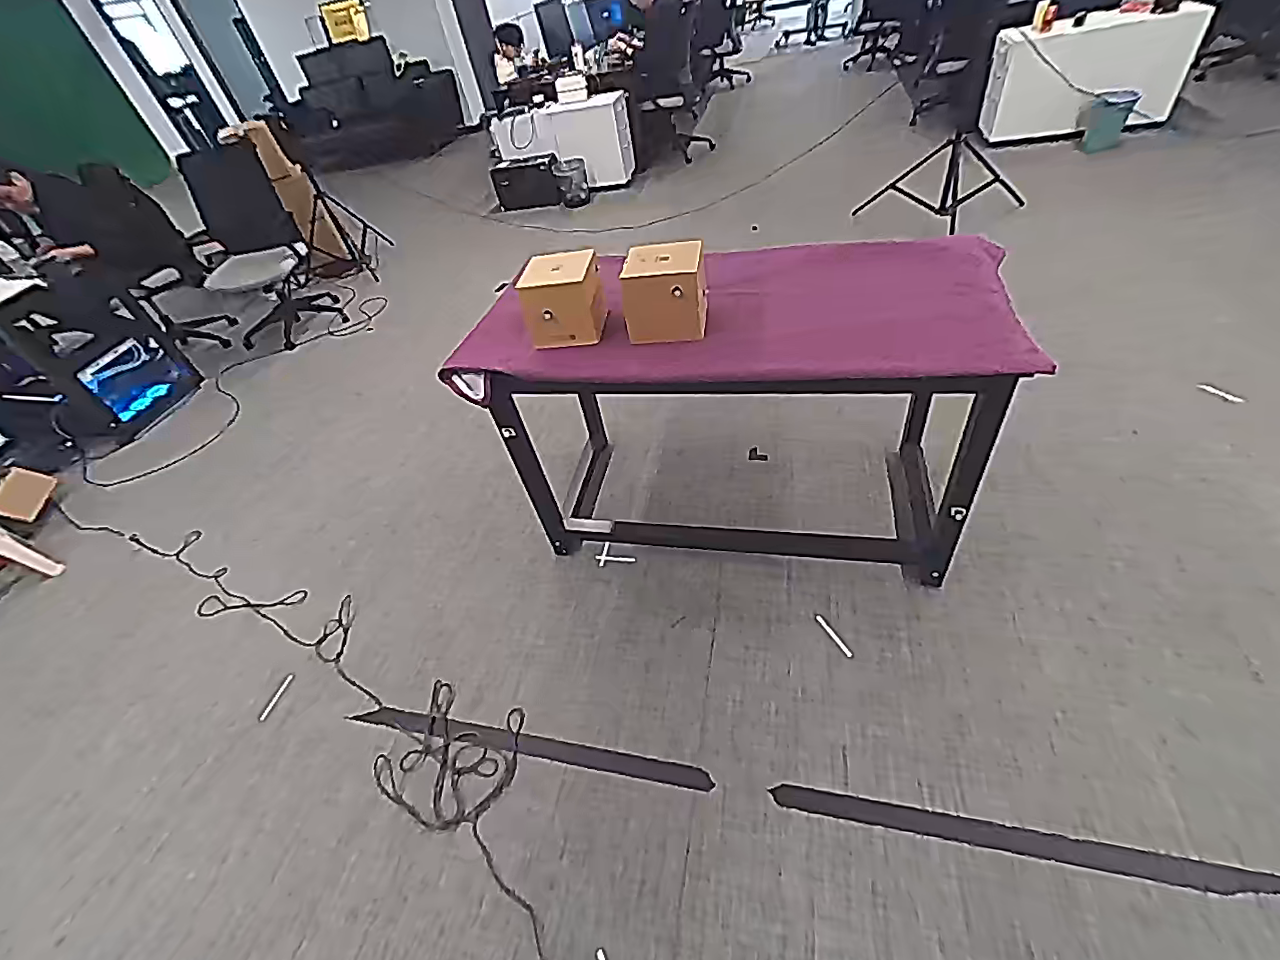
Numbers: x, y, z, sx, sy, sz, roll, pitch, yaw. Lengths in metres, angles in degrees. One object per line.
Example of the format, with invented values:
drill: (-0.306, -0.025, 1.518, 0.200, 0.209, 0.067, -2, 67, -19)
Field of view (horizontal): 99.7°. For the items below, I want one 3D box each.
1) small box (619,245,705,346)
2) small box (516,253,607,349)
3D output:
small box: (0.061, -0.434, 1.281, 0.179, 0.176, 0.168, -1, 44, 12)
small box: (-0.186, -0.439, 1.349, 0.168, 0.176, 0.179, -3, 44, 11)
